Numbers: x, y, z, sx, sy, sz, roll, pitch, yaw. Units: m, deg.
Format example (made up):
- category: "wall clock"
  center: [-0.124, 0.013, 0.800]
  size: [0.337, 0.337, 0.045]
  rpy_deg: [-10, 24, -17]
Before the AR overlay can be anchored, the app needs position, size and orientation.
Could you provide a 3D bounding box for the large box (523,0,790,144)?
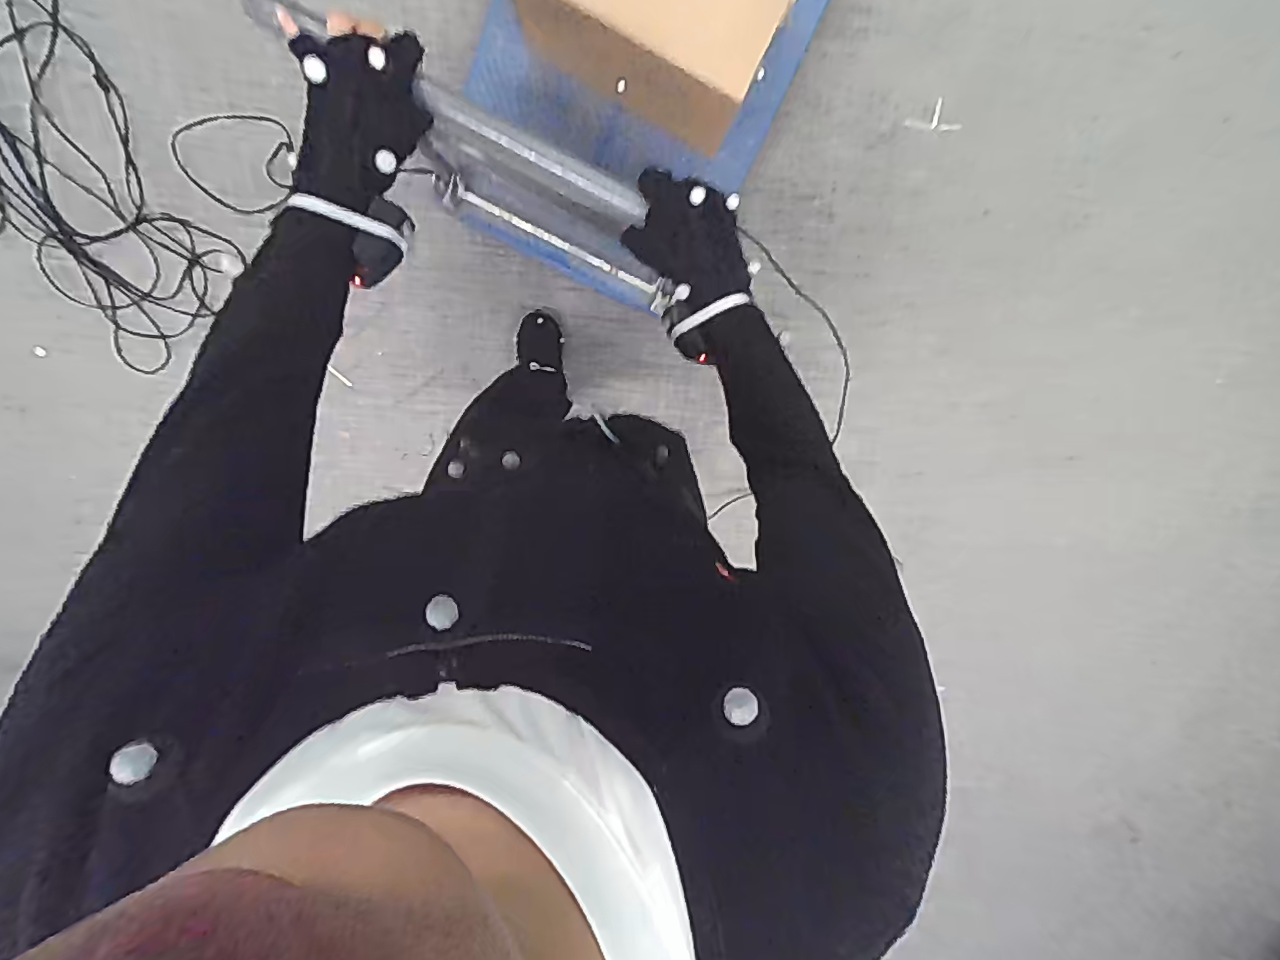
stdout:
- category: "large box"
  center: [0.049, -0.842, 0.892]
  size: [0.408, 0.320, 0.320]
  rpy_deg: [25, 104, -7]
